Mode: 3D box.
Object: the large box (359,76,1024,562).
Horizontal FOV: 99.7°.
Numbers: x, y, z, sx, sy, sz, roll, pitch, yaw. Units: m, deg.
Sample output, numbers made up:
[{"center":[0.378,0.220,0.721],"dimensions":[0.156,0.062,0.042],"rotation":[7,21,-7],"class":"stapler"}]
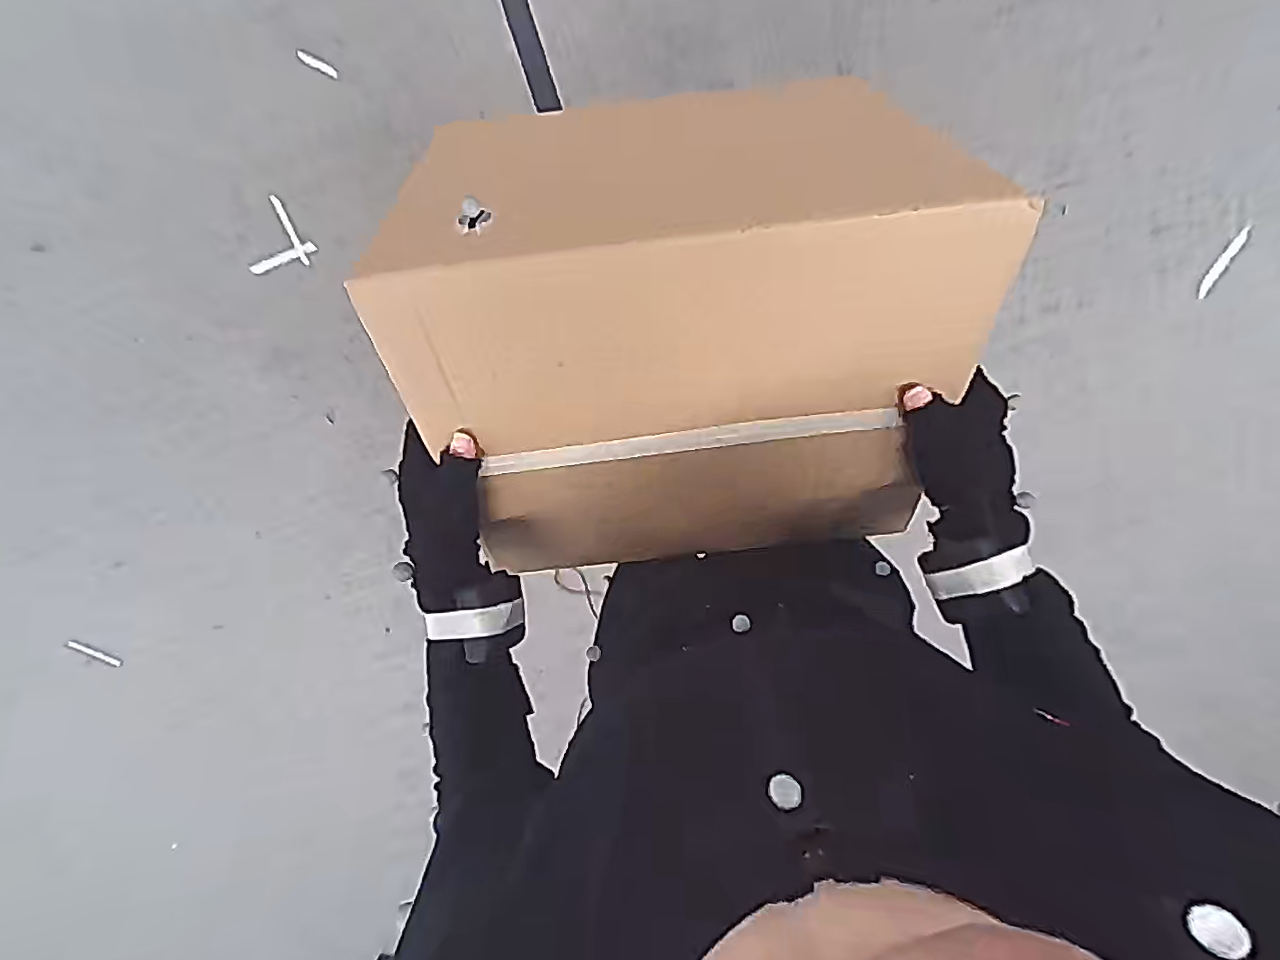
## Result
[{"center":[0.029,-0.151,0.525],"dimensions":[0.408,0.320,0.320],"rotation":[-6,139,1],"class":"large box"}]
